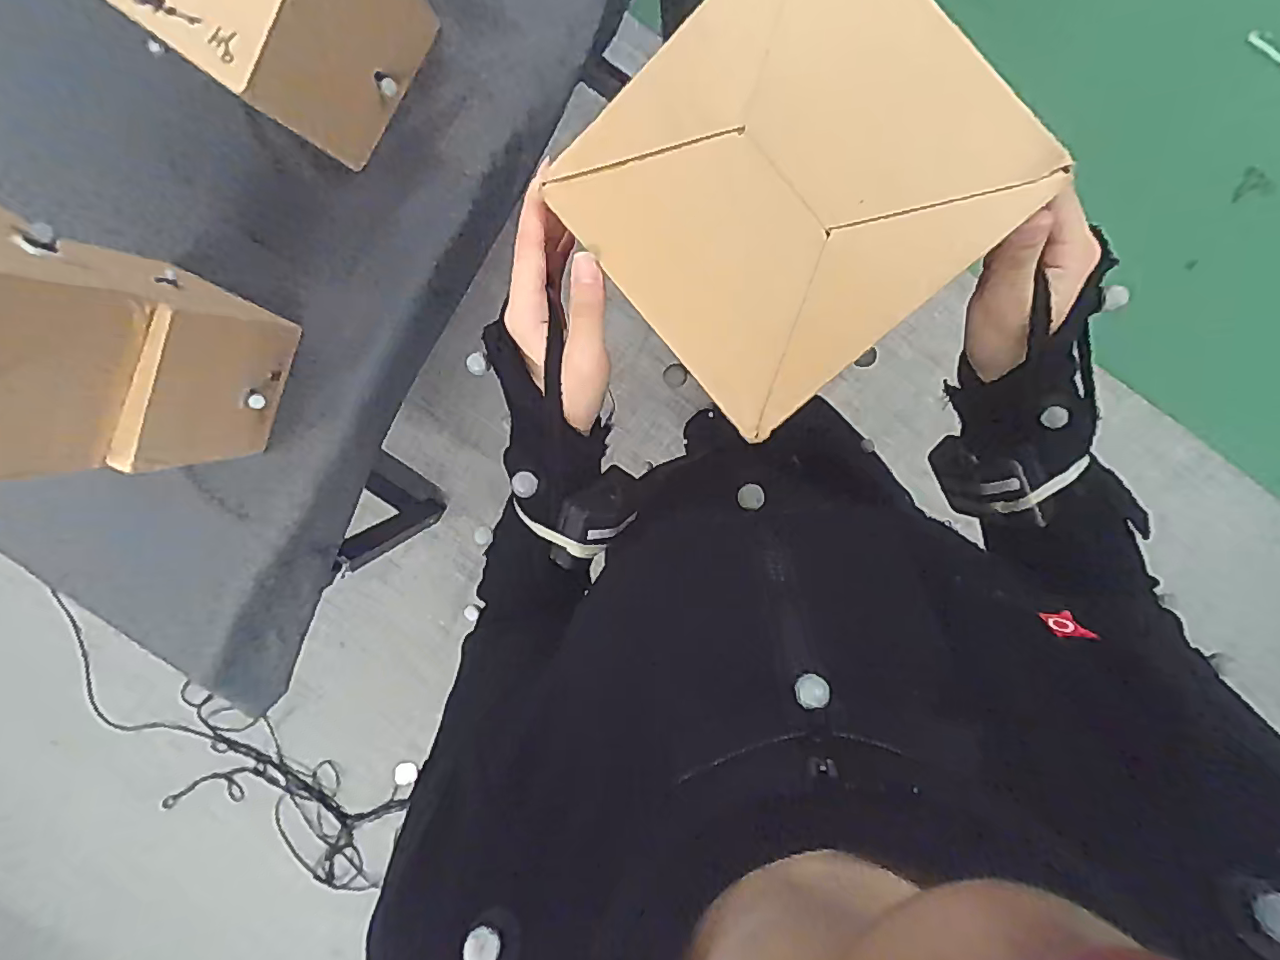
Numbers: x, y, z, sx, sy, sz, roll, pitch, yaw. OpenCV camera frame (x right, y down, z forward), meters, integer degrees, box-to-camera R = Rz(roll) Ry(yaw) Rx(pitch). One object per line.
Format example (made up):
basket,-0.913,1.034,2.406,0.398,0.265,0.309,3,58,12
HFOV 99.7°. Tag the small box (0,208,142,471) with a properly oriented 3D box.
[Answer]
small box,-0.534,-0.111,0.399,0.168,0.176,0.179,29,101,-3

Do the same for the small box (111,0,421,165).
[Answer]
small box,-0.330,-0.436,0.488,0.168,0.176,0.179,36,101,-3

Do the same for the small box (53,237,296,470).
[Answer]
small box,-0.511,-0.129,0.560,0.179,0.176,0.168,25,102,-1
